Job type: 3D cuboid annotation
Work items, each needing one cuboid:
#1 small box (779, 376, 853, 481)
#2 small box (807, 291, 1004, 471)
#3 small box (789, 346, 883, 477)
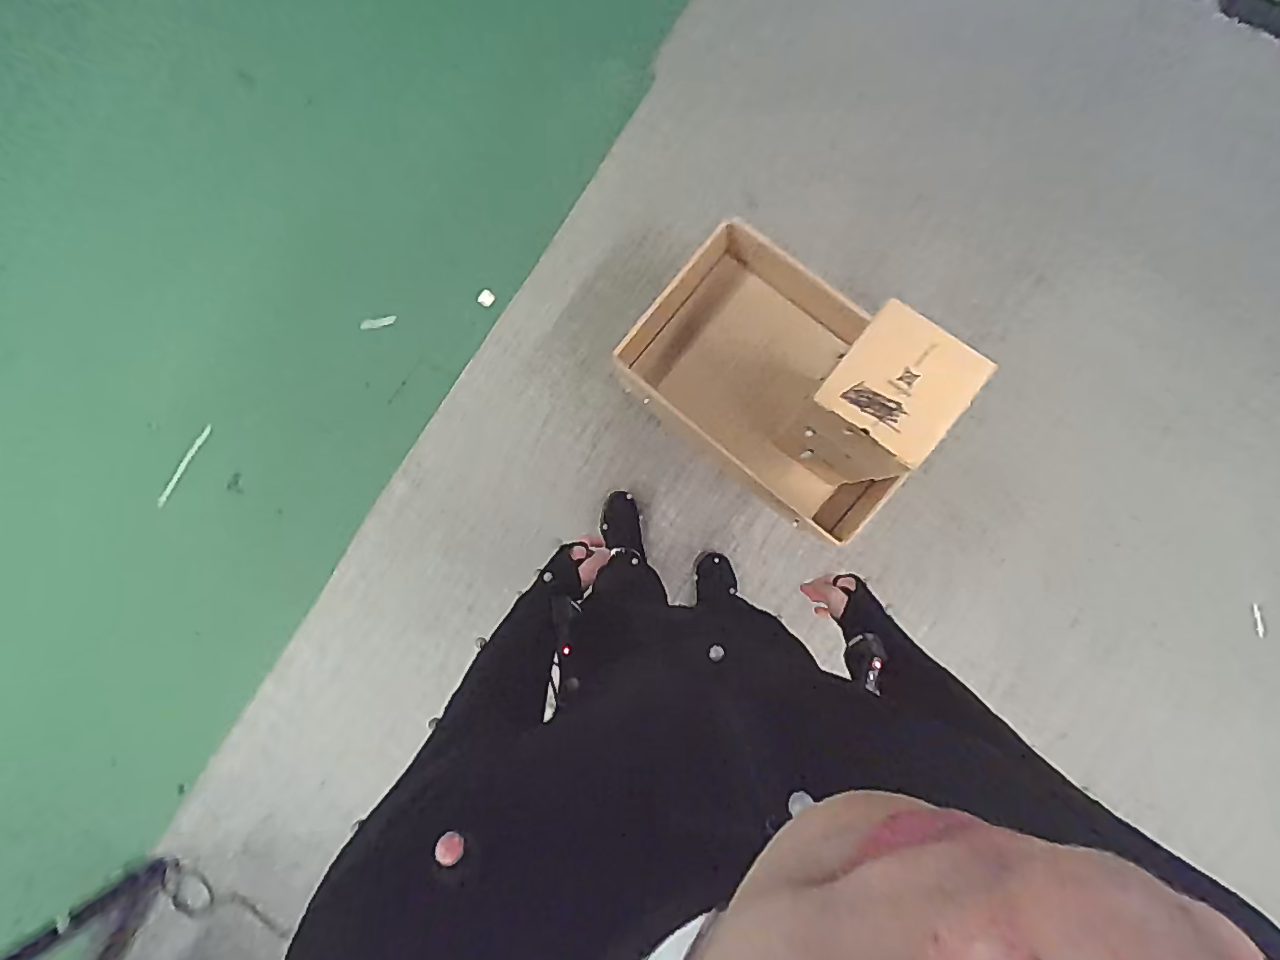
[{"bbox_3d":[0.405,-0.116,1.108,0.168,0.176,0.179,39,91,8],"label":"small box"},{"bbox_3d":[0.363,-0.128,0.785,0.168,0.176,0.179,39,90,7],"label":"small box"},{"bbox_3d":[0.384,-0.122,0.948,0.168,0.176,0.179,39,92,7],"label":"small box"}]
